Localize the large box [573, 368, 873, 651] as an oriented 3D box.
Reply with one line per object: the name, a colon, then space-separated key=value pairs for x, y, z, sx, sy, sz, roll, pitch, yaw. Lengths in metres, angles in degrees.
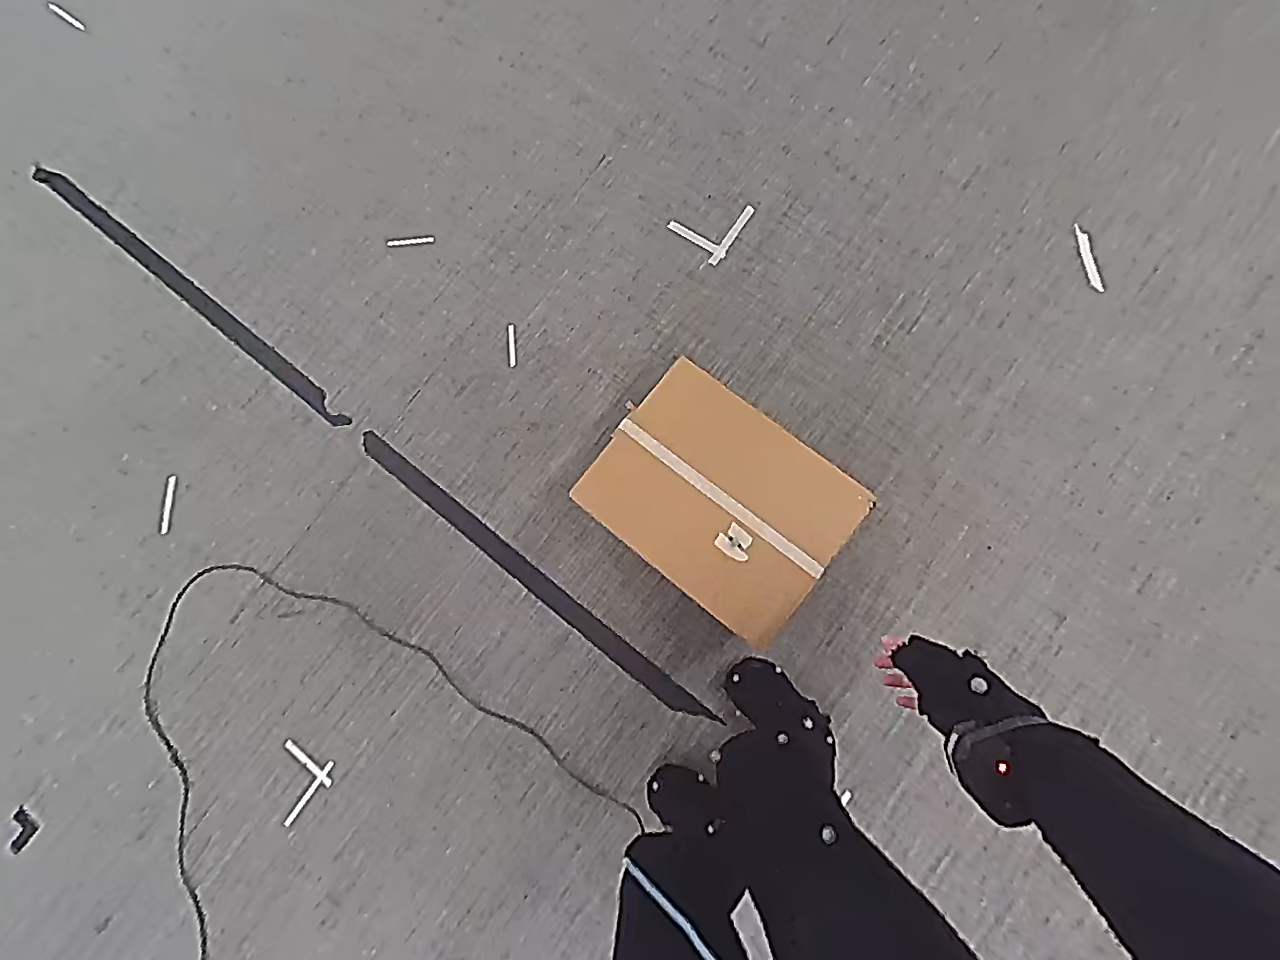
large box: x=0.141 y=0.061 z=1.039 sx=0.408 sy=0.320 sz=0.320 roll=38 pitch=86 yaw=9
